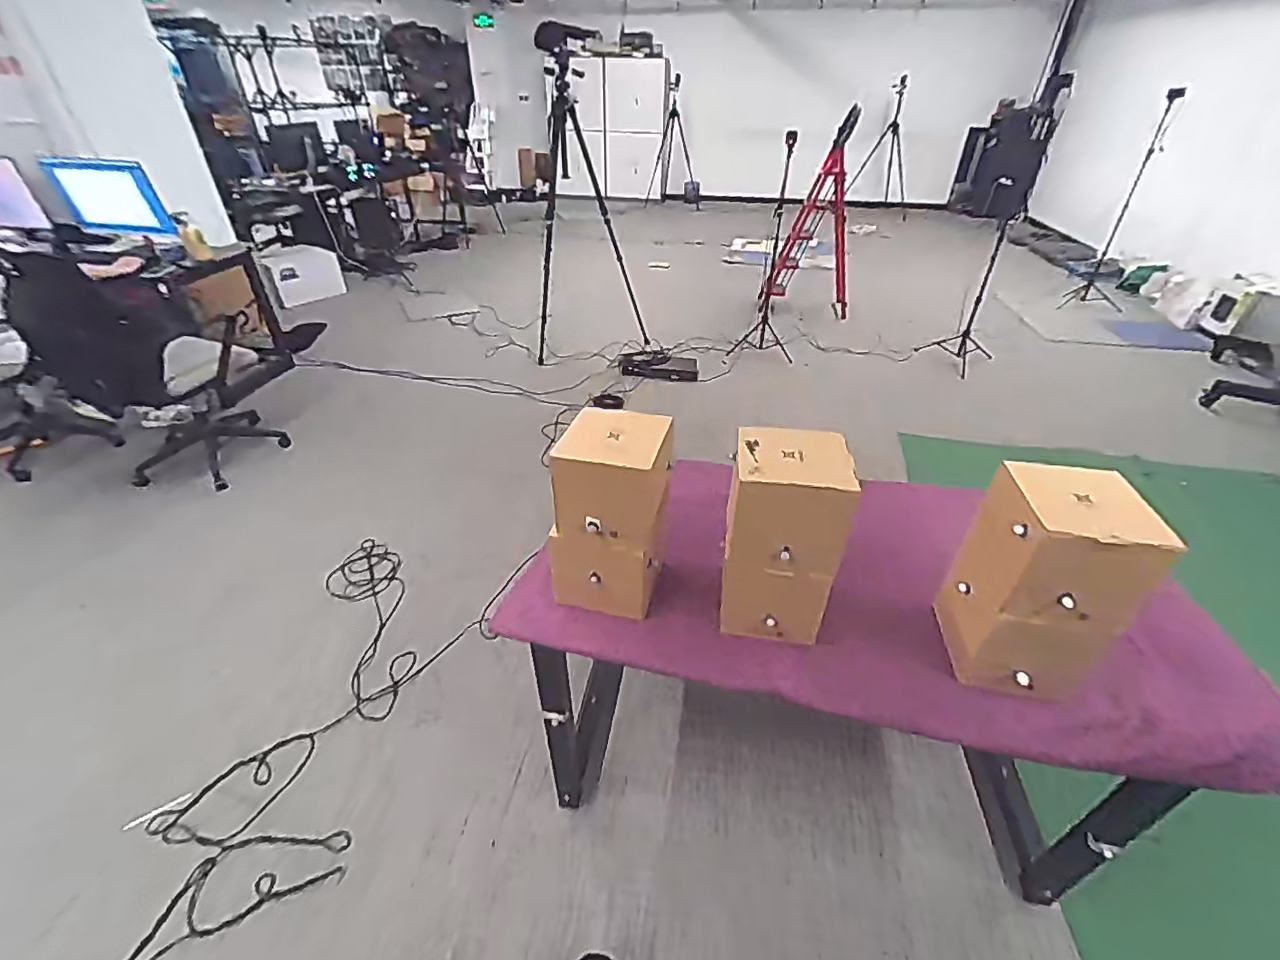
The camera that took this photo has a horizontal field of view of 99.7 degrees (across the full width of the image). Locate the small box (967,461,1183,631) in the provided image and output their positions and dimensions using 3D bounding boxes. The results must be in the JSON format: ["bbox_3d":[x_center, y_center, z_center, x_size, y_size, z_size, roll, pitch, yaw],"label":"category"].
[{"bbox_3d":[0.623,0.095,0.809,0.168,0.176,0.179,6,36,8],"label":"small box"}]

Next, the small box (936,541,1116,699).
[{"bbox_3d":[0.619,0.229,0.900,0.168,0.176,0.179,6,36,8],"label":"small box"}]

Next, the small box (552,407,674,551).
[{"bbox_3d":[-0.041,-0.005,0.929,0.168,0.176,0.179,7,36,11],"label":"small box"}]

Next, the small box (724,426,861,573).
[{"bbox_3d":[0.237,0.032,0.883,0.179,0.176,0.168,6,34,6],"label":"small box"}]

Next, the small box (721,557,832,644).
[{"bbox_3d":[0.237,0.165,0.978,0.168,0.176,0.179,6,35,7],"label":"small box"}]
